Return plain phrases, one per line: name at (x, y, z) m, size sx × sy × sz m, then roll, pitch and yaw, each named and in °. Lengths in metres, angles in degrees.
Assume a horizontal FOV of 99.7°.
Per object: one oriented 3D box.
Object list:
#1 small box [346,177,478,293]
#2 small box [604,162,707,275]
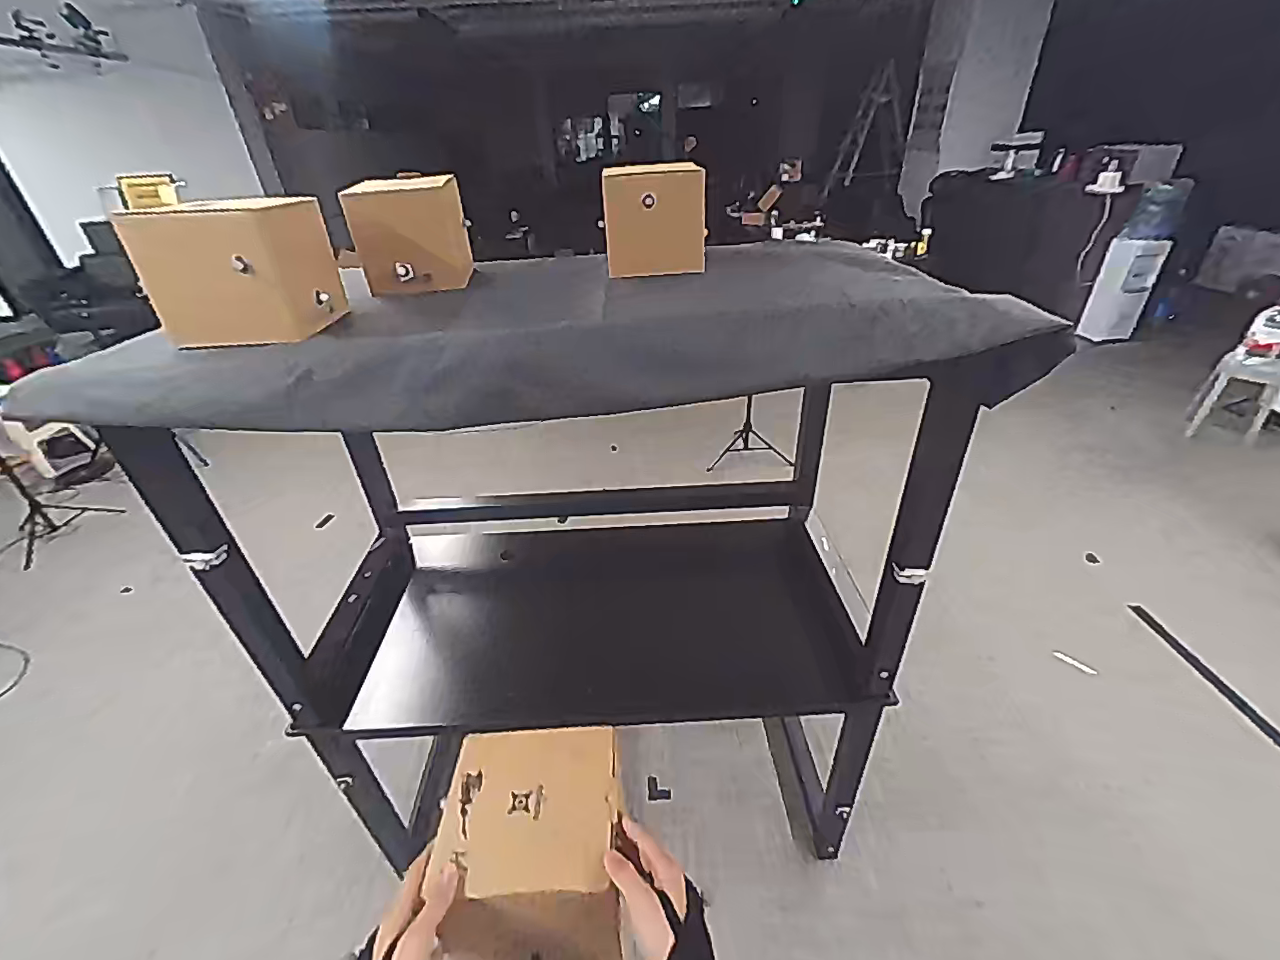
small box at (-0.402, -0.450, 0.990) m, size 0.168 × 0.176 × 0.179 m, roll -8°, pitch 34°, yaw -5°
small box at (0.030, -0.488, 1.008) m, size 0.179 × 0.176 × 0.168 m, roll -3°, pitch 34°, yaw 0°
